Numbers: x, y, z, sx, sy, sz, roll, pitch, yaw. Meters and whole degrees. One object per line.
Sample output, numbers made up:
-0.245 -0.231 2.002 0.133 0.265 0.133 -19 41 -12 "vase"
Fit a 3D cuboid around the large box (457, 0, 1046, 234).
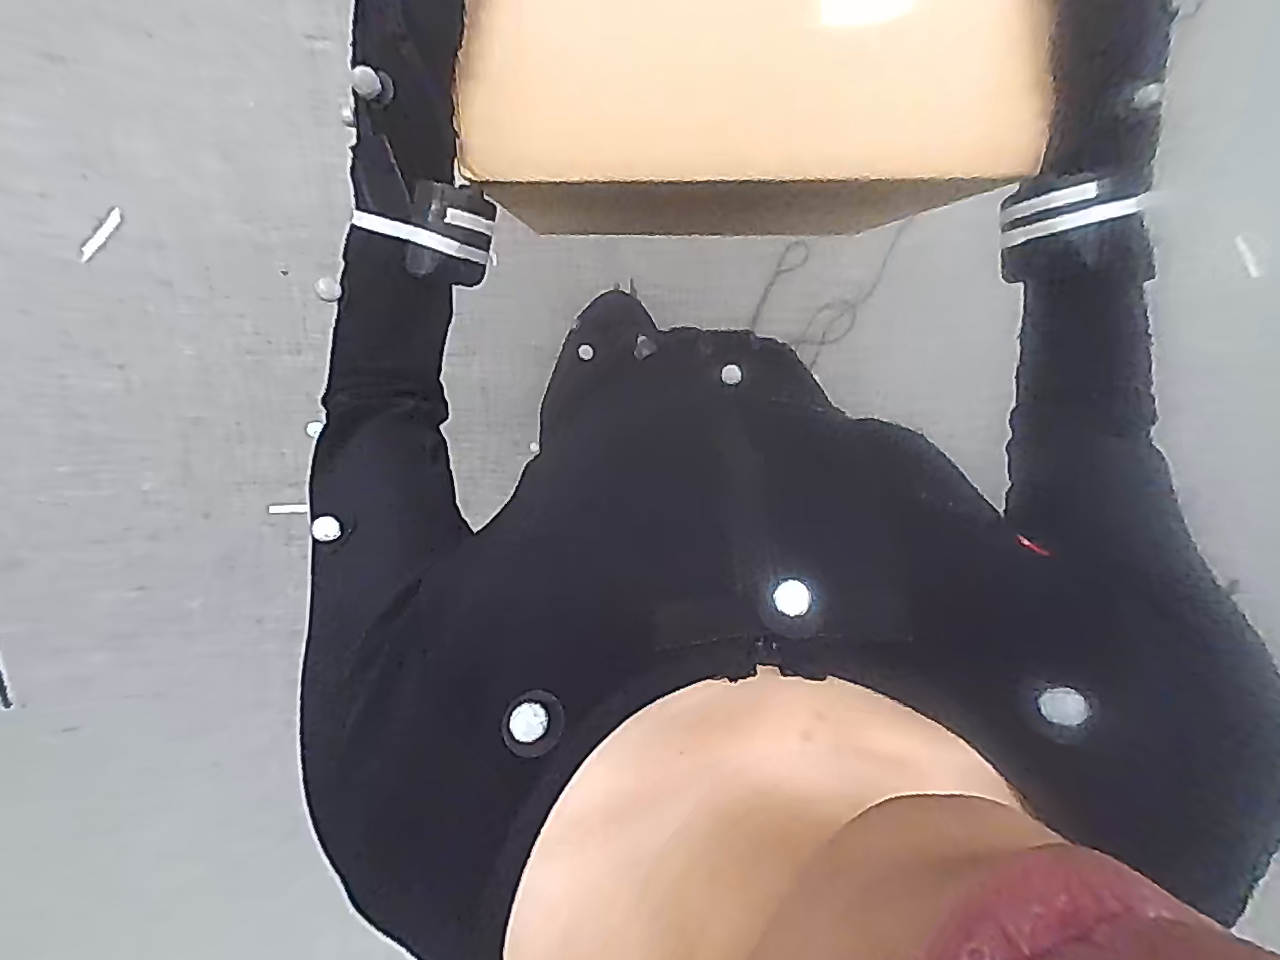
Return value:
0.069 -0.416 0.487 0.408 0.320 0.320 -2 108 -1 "large box"
